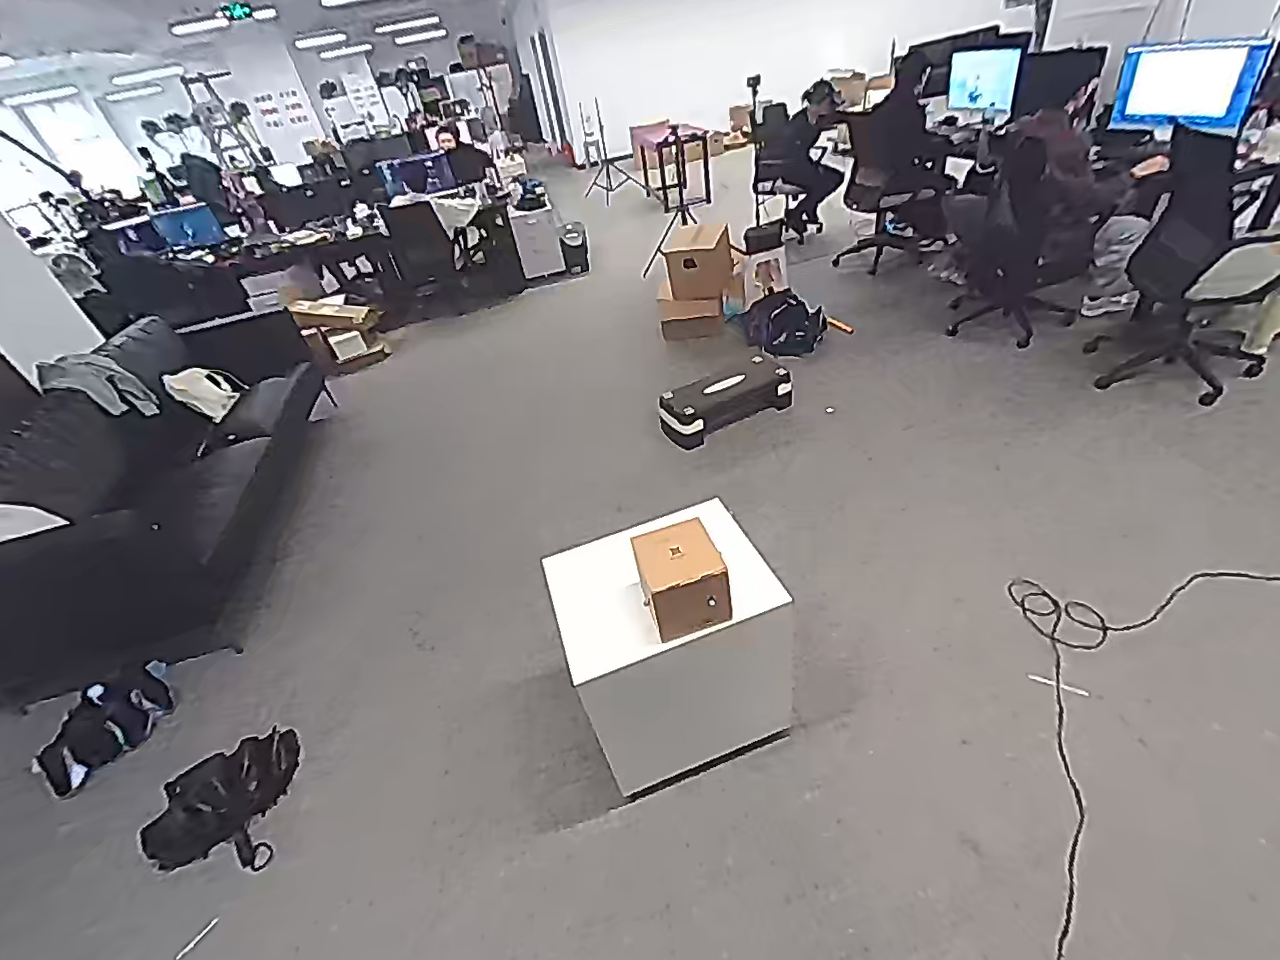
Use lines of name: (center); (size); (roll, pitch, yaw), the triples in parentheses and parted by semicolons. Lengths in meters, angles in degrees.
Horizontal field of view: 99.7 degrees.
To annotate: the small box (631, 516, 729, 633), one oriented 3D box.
small box: (0.090, 0.213, 1.193); (0.168, 0.176, 0.179); (-16, 36, -7)
